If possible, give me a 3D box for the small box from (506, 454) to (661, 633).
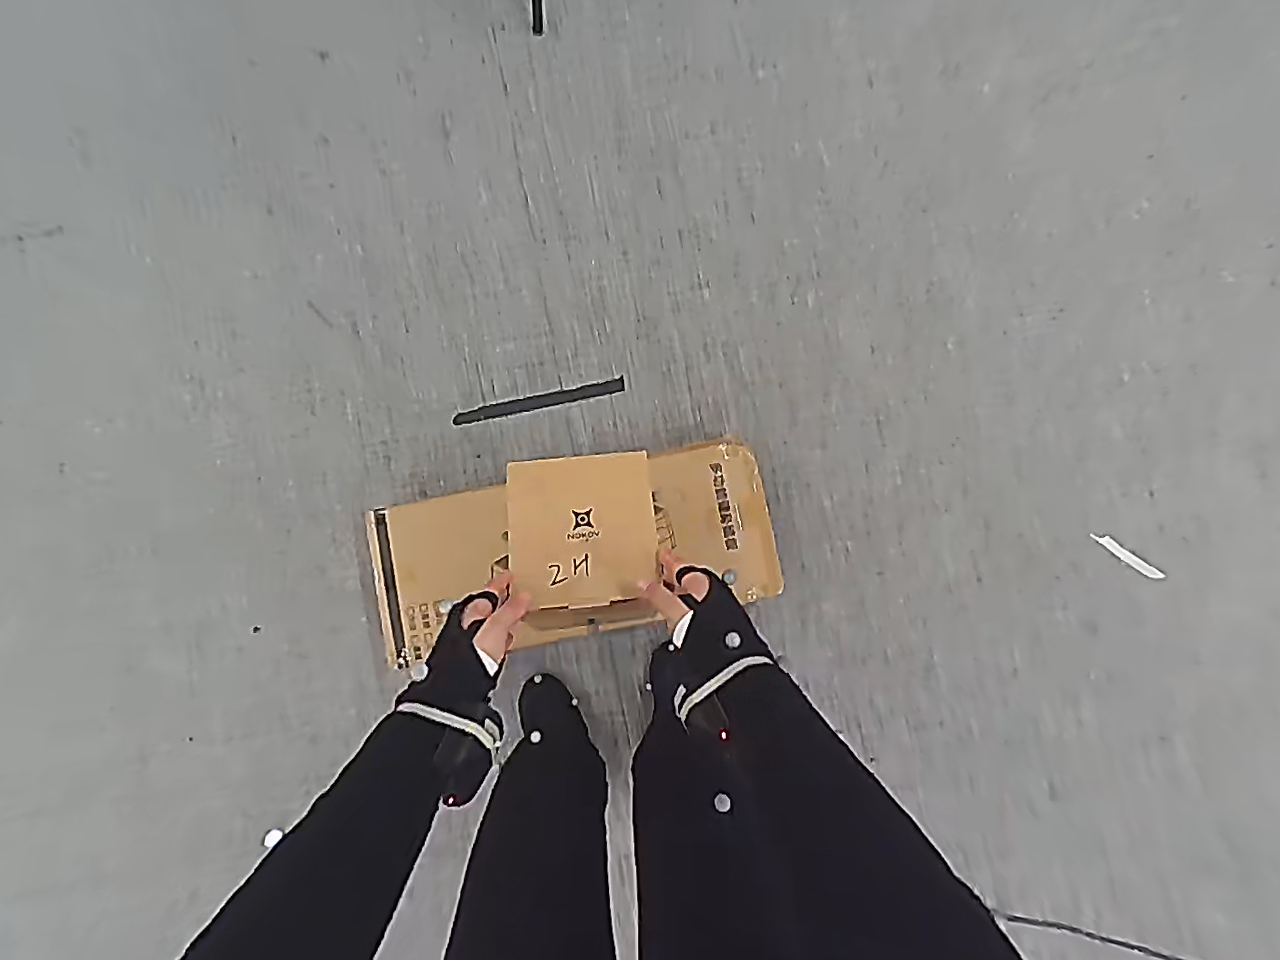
[{"bbox_3d":[-0.070,0.084,0.673,0.168,0.176,0.179,-4,67,-5],"label":"small box"}]
